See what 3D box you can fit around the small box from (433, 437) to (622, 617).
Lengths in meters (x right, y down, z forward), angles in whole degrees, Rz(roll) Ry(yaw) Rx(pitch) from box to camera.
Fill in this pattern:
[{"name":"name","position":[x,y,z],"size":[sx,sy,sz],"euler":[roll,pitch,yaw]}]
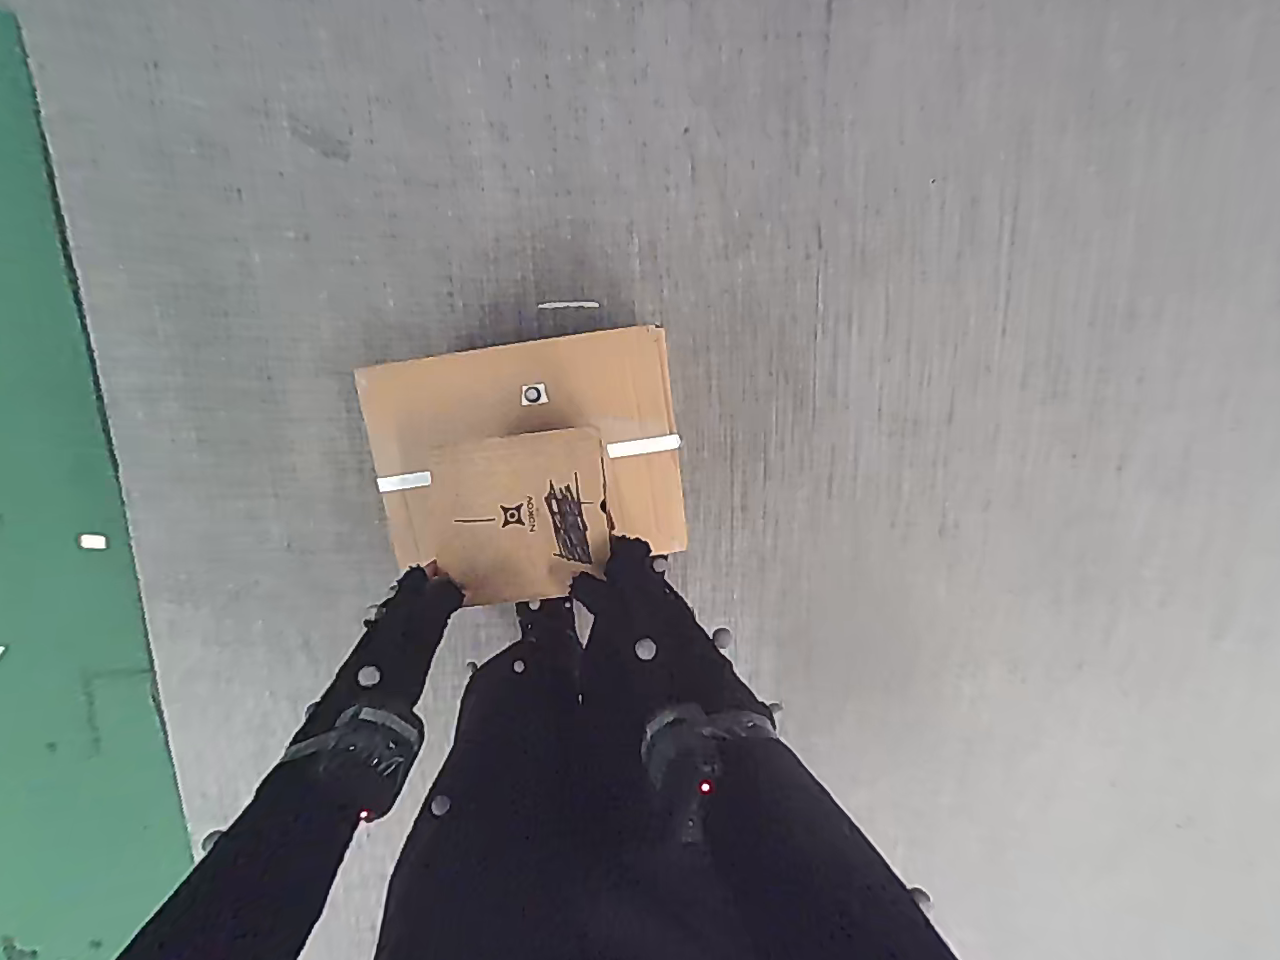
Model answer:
[{"name":"small box","position":[-0.113,0.056,0.608],"size":[0.179,0.176,0.168],"euler":[-6,80,0]}]
